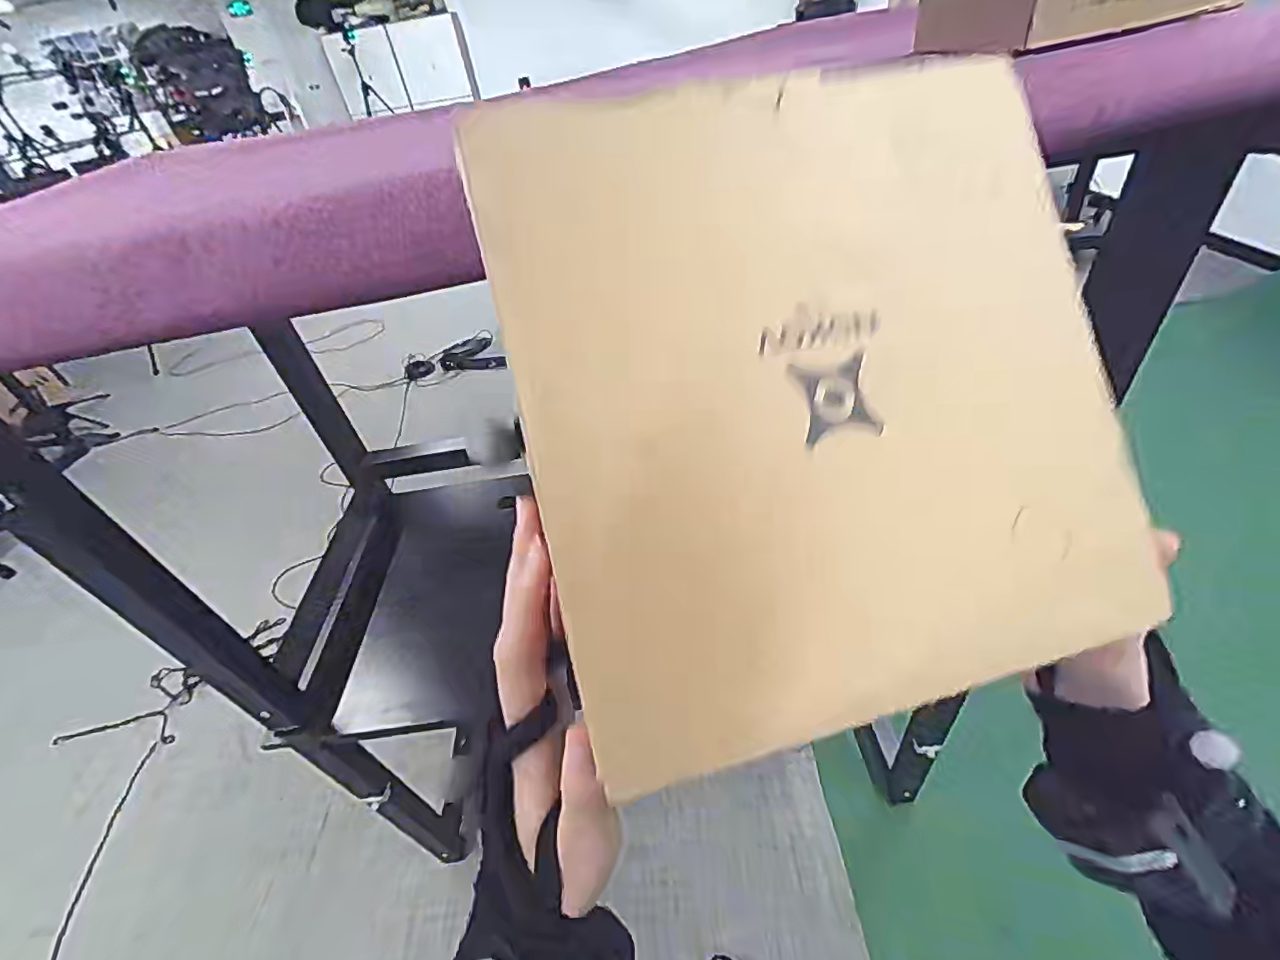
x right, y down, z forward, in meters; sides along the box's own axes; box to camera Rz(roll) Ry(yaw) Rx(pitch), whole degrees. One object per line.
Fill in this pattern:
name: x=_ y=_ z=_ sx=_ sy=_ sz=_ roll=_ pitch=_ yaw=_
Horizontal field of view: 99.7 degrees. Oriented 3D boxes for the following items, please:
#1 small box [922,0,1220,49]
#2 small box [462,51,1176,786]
small box: x=0.348 y=-0.454 z=0.416 sx=0.168 sy=0.176 sz=0.179 roll=-10 pitch=38 yaw=1
small box: x=0.040 y=-0.019 z=0.223 sx=0.168 sy=0.176 sz=0.179 roll=-13 pitch=85 yaw=-10
